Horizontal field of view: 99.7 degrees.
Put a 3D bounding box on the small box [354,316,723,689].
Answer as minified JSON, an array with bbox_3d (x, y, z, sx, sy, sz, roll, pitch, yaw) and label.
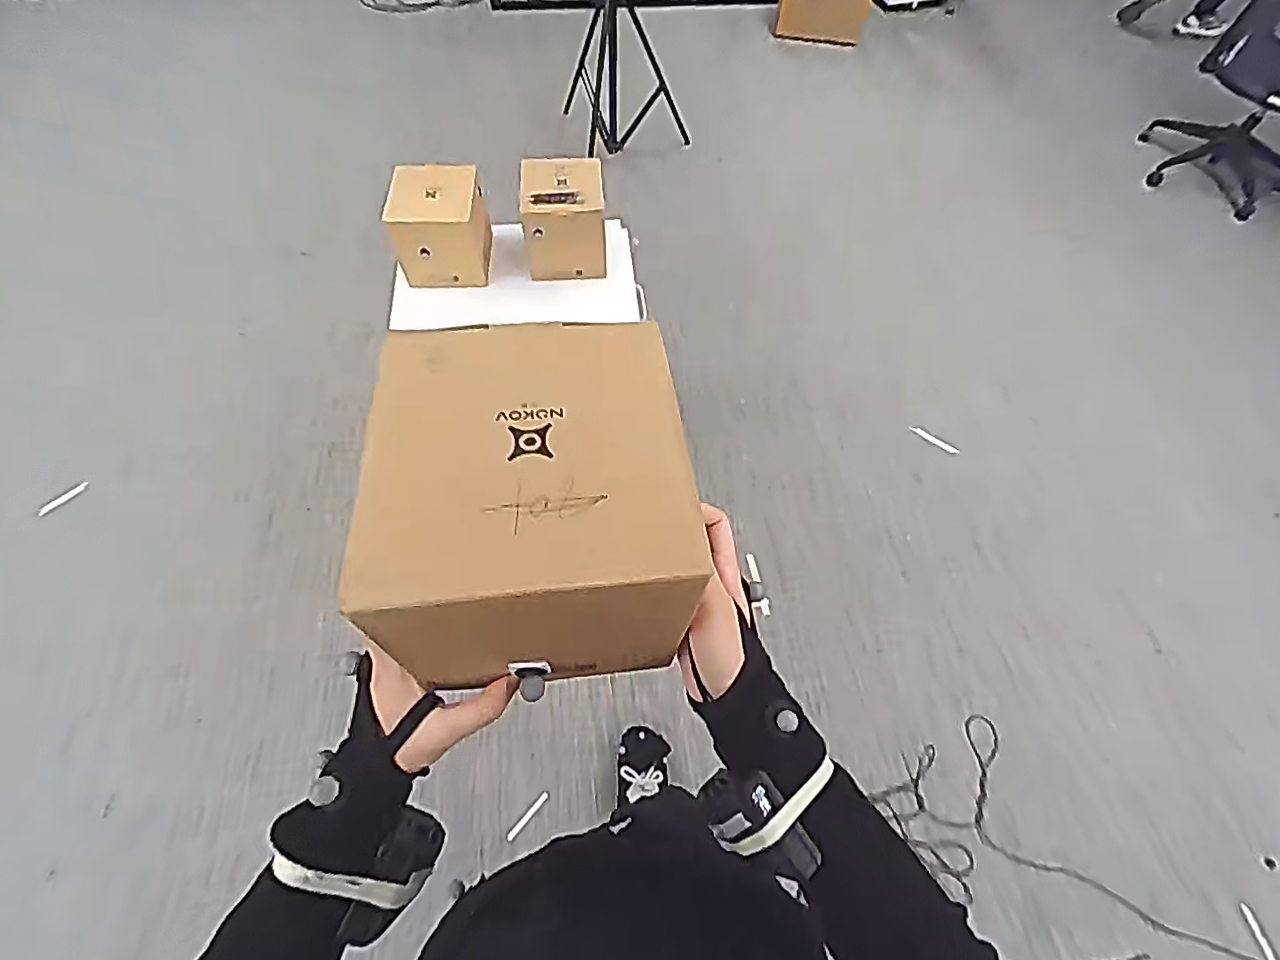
[{"bbox_3d":[-0.058,0.019,0.351,0.168,0.176,0.179,-5,58,-7],"label":"small box"}]

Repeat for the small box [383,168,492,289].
[{"bbox_3d":[-0.412,-0.520,1.134,0.168,0.176,0.179,-2,62,-4],"label":"small box"}]
